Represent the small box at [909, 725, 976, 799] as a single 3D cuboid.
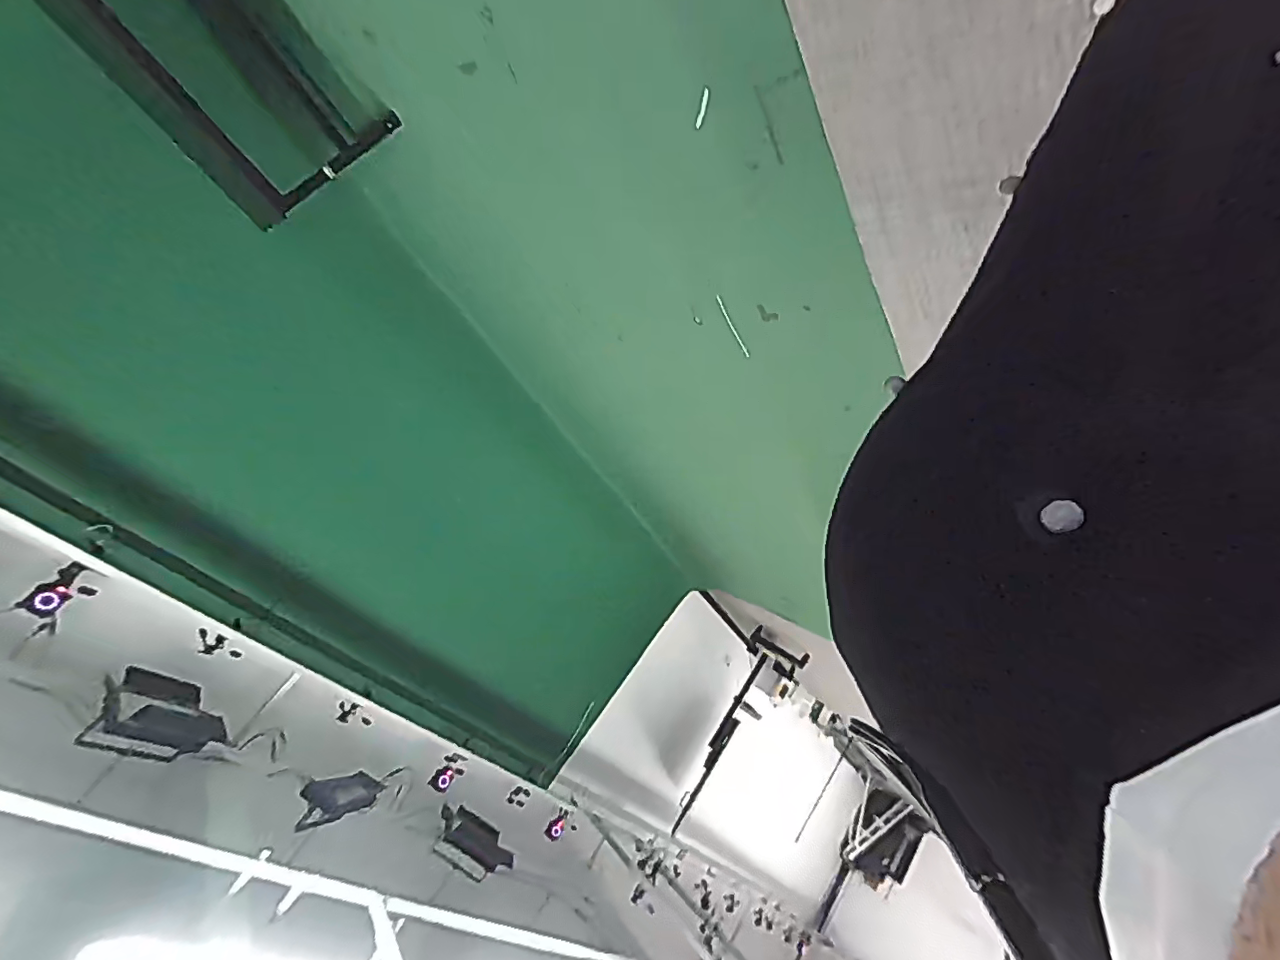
[{"bbox_3d":[1.190,1.099,2.118,0.168,0.176,0.179,15,150,50],"label":"small box"}]
